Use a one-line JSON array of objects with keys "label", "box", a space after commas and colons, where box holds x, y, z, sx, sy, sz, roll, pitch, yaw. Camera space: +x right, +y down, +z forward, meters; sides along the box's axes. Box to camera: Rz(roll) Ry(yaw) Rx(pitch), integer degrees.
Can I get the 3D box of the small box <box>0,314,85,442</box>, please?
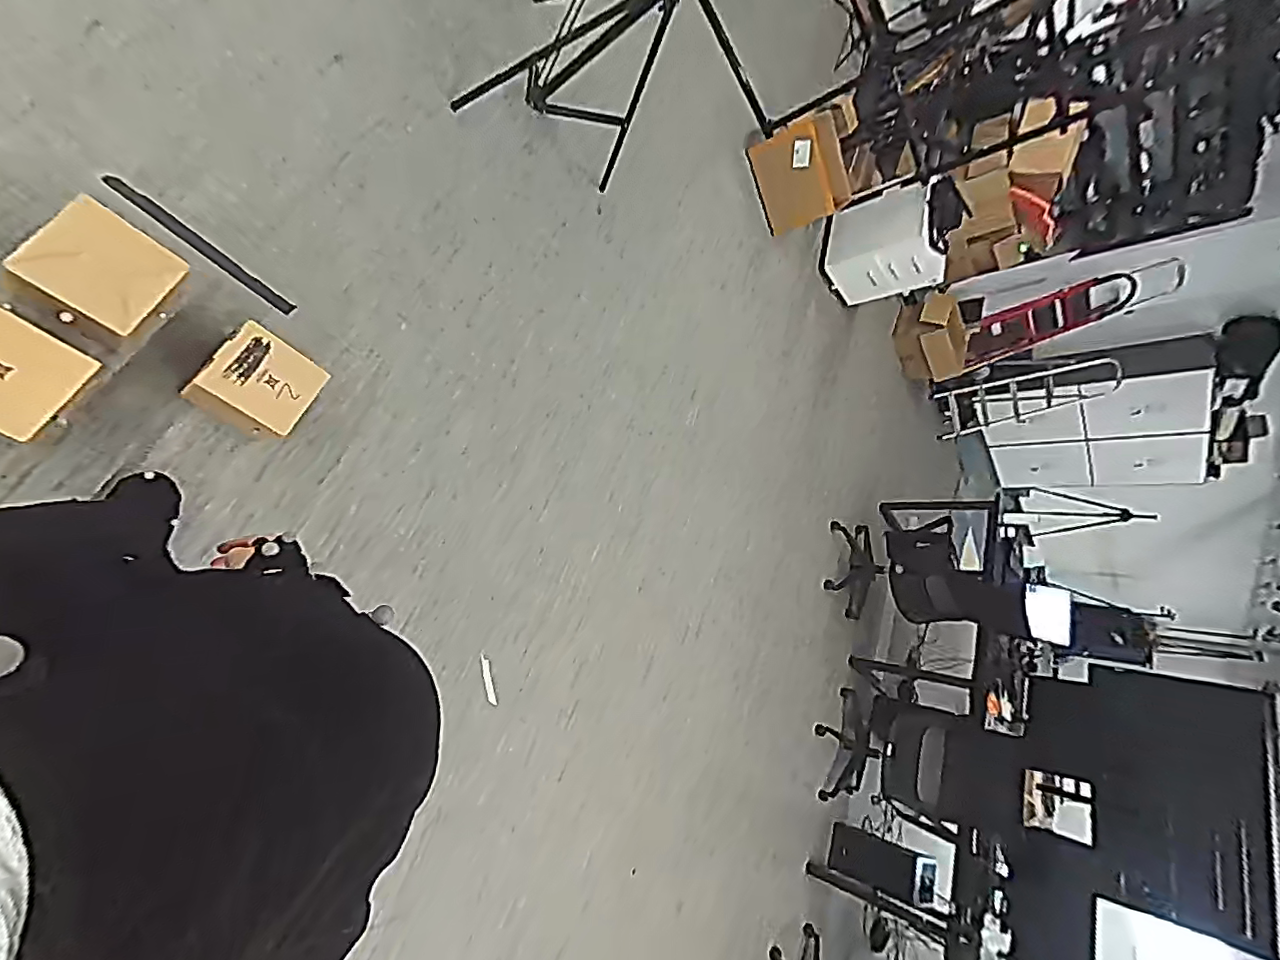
[{"label": "small box", "box": [-1.060, -0.173, 0.869, 0.179, 0.176, 0.168, 43, 58, -38]}]
